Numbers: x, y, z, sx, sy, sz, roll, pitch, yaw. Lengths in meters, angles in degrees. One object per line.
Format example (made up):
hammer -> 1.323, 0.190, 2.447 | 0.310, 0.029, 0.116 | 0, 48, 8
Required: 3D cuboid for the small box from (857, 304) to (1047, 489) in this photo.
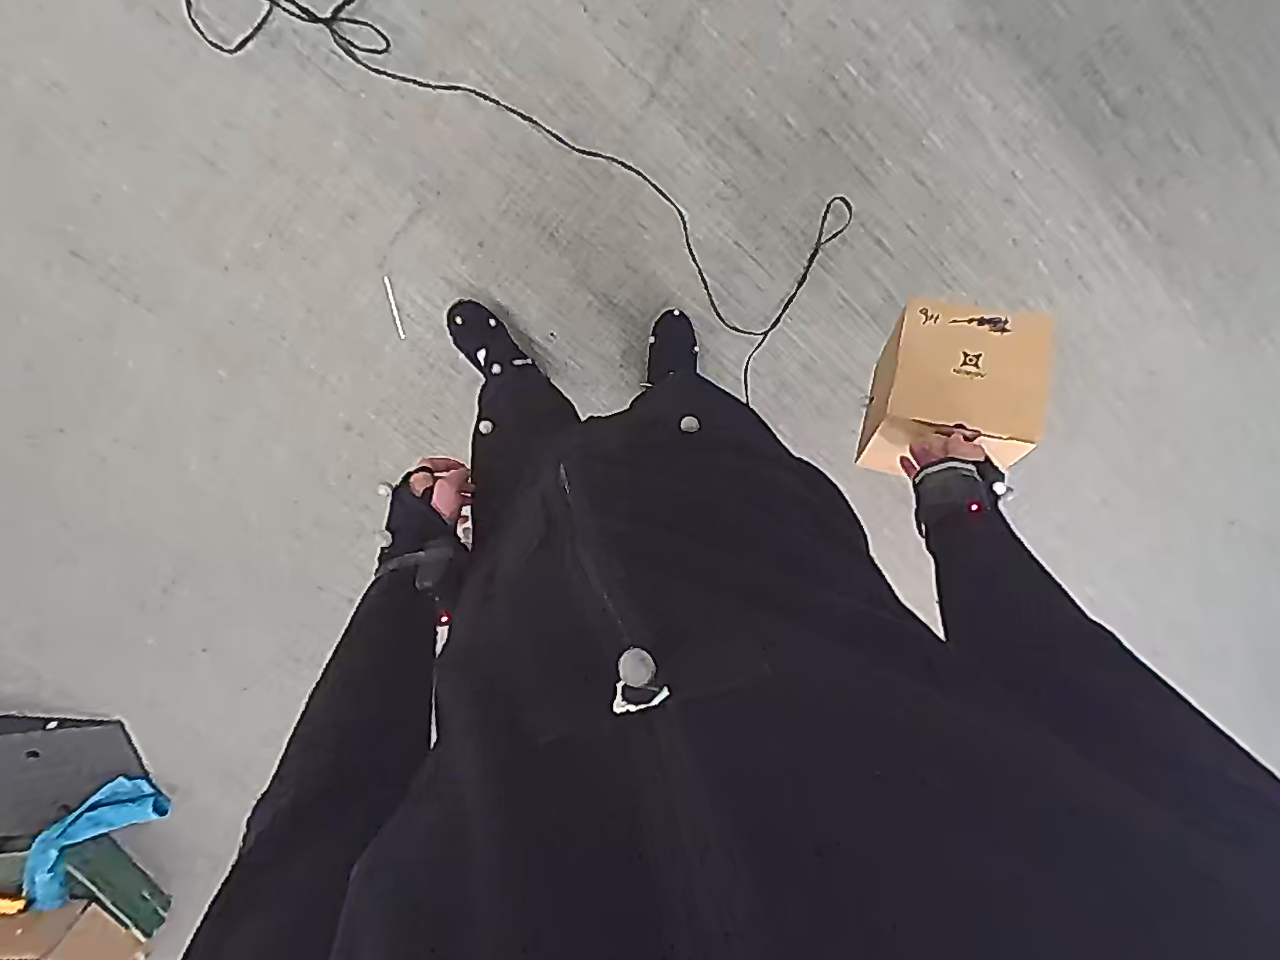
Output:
small box -> 0.406, -0.104, 0.731 | 0.168, 0.176, 0.179 | 15, 73, 13
